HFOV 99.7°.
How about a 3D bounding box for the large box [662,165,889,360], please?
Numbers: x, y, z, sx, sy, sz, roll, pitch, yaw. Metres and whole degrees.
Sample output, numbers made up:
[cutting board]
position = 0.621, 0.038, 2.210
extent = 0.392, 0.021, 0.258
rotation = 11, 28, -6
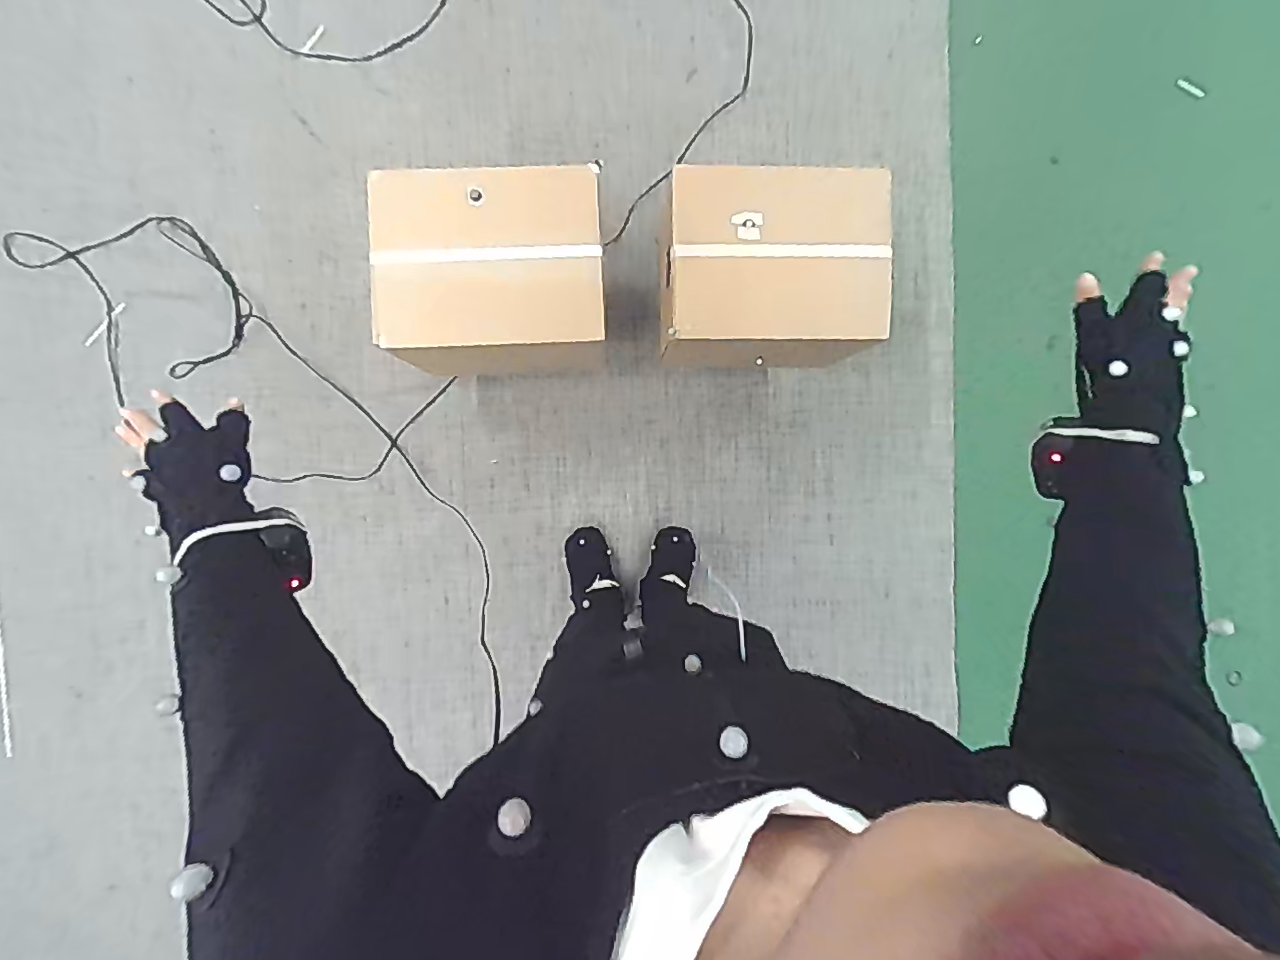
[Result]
[large box]
position = 0.258, -0.431, 1.144
extent = 0.408, 0.320, 0.320
rotation = 0, 92, -2
